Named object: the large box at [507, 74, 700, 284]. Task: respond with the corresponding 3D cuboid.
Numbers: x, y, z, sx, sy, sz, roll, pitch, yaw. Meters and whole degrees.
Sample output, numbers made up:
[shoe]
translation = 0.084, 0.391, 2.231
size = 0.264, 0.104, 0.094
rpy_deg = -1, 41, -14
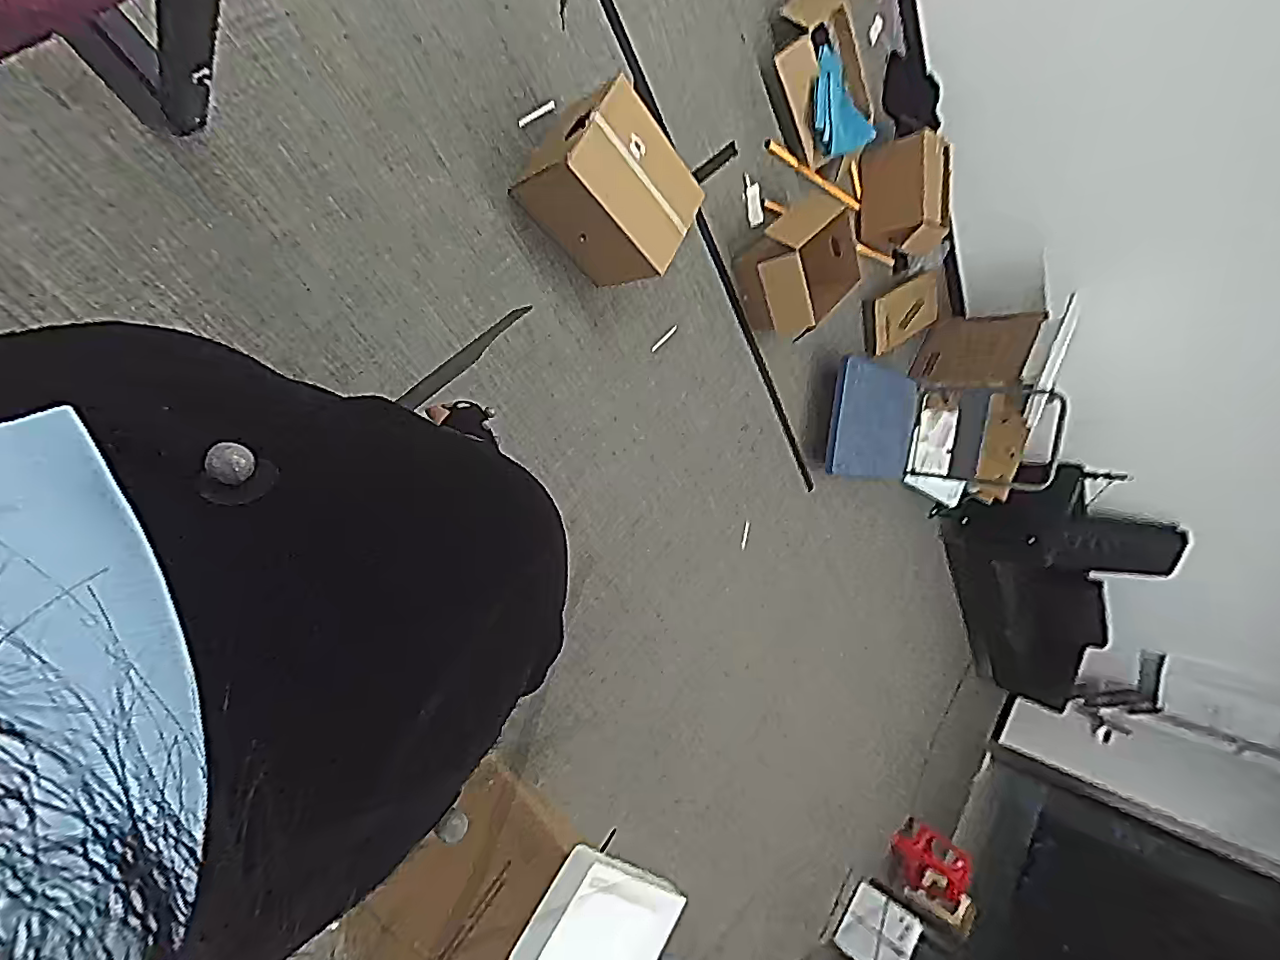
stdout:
[large box]
translation = -0.101, -0.842, 1.586
size = 0.408, 0.320, 0.320
rpy_deg = 36, 74, -39
